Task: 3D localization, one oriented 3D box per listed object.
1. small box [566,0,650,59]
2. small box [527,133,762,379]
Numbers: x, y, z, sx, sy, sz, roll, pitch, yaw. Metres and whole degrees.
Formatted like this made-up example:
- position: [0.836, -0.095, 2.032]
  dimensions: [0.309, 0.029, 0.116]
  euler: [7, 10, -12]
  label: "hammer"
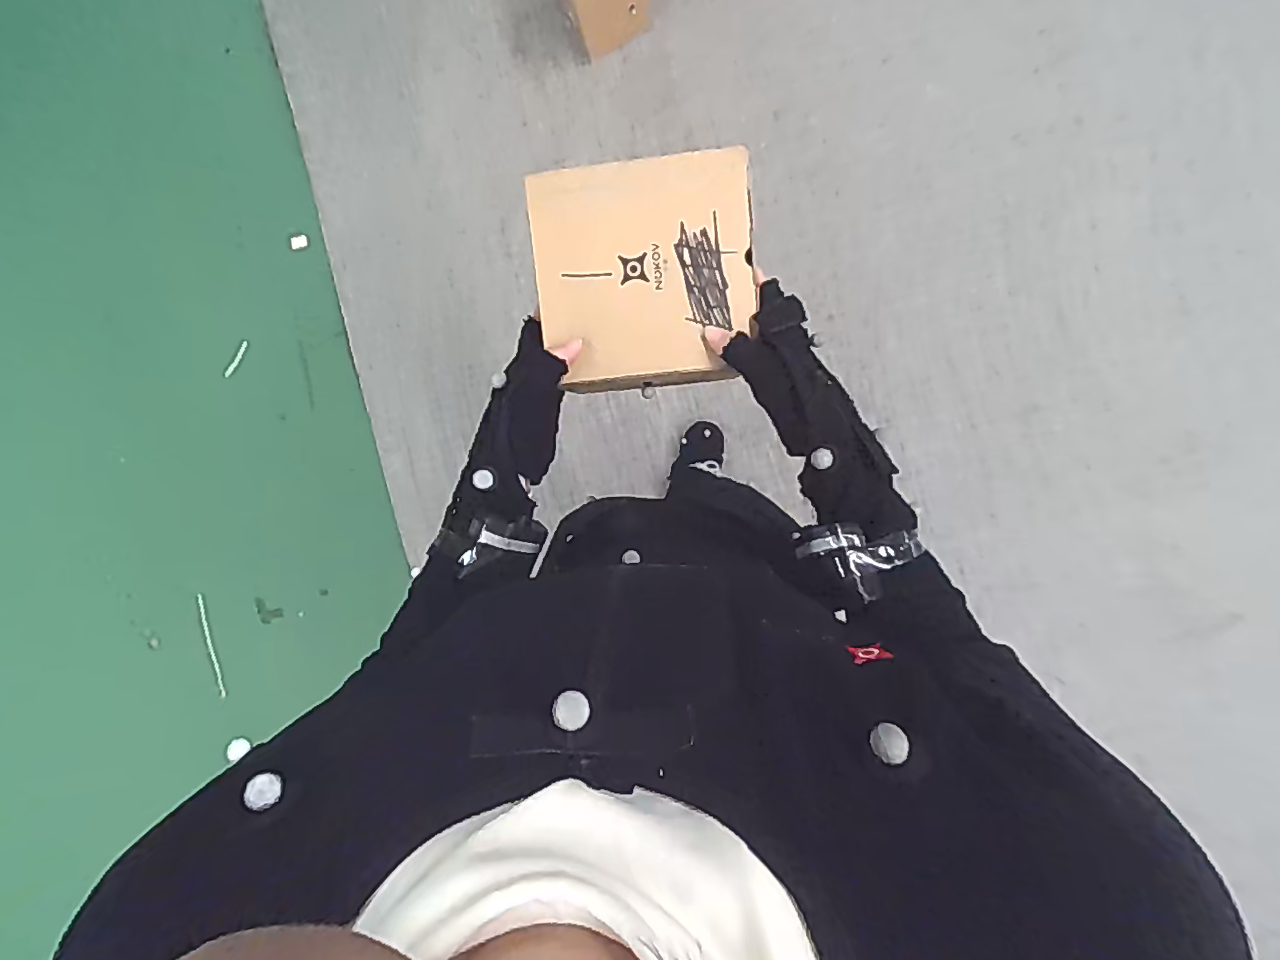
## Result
- position: [-0.086, -1.181, 1.299]
  dimensions: [0.179, 0.176, 0.168]
  euler: [-27, 88, 9]
  label: "small box"
- position: [0.008, -0.187, 0.502]
  dimensions: [0.179, 0.176, 0.168]
  euler: [-5, 97, 4]
  label: "small box"
